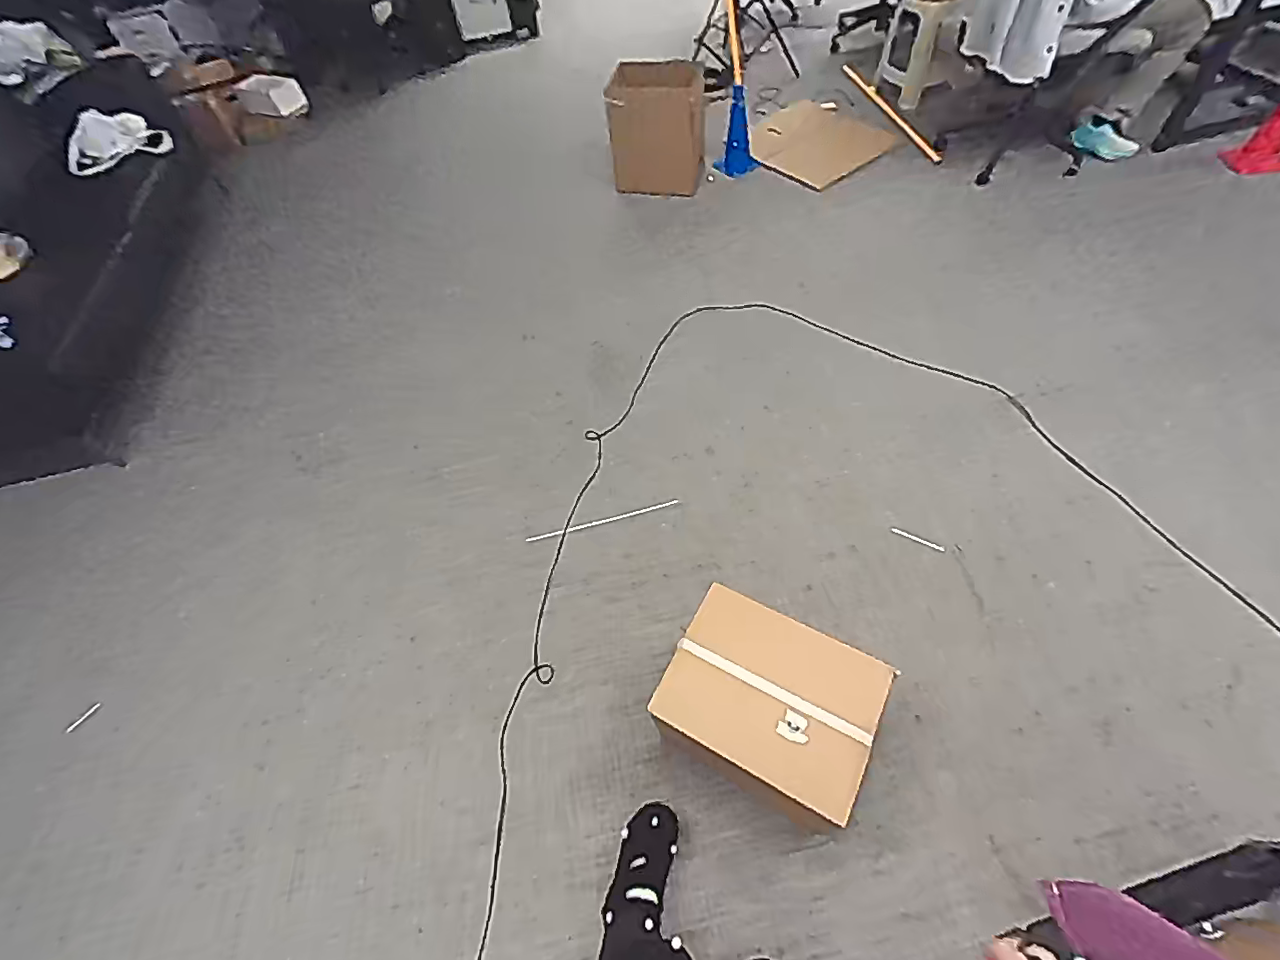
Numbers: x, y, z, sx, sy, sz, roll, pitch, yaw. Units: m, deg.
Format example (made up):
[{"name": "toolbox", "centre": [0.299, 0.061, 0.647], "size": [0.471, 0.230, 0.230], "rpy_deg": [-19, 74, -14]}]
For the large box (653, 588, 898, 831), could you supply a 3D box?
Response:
[{"name": "large box", "centre": [0.282, 0.505, 1.196], "size": [0.408, 0.320, 0.320], "rpy_deg": [23, 63, 21]}]
